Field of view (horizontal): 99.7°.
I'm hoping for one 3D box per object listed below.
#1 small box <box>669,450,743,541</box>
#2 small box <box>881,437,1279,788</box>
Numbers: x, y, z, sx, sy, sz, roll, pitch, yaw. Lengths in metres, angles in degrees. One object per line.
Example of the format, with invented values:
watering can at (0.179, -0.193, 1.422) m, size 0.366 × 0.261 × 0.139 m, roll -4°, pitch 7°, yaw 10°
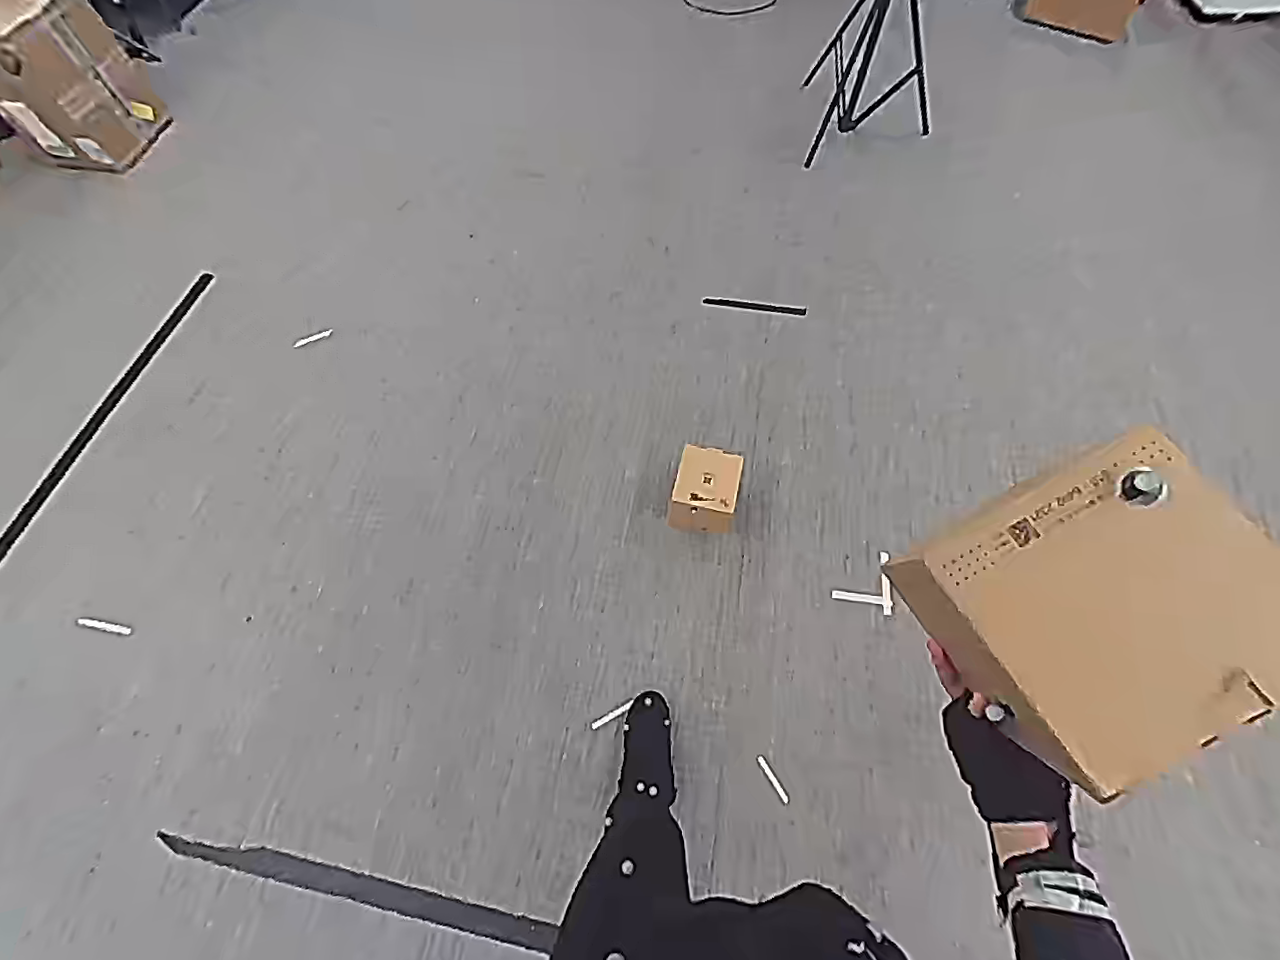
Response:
small box at (0.179, 0.047, 1.503) m, size 0.168 × 0.176 × 0.179 m, roll 13°, pitch 64°, yaw 7°
small box at (0.313, 0.089, 0.413) m, size 0.168 × 0.179 × 0.176 m, roll -32°, pitch 72°, yaw 6°
